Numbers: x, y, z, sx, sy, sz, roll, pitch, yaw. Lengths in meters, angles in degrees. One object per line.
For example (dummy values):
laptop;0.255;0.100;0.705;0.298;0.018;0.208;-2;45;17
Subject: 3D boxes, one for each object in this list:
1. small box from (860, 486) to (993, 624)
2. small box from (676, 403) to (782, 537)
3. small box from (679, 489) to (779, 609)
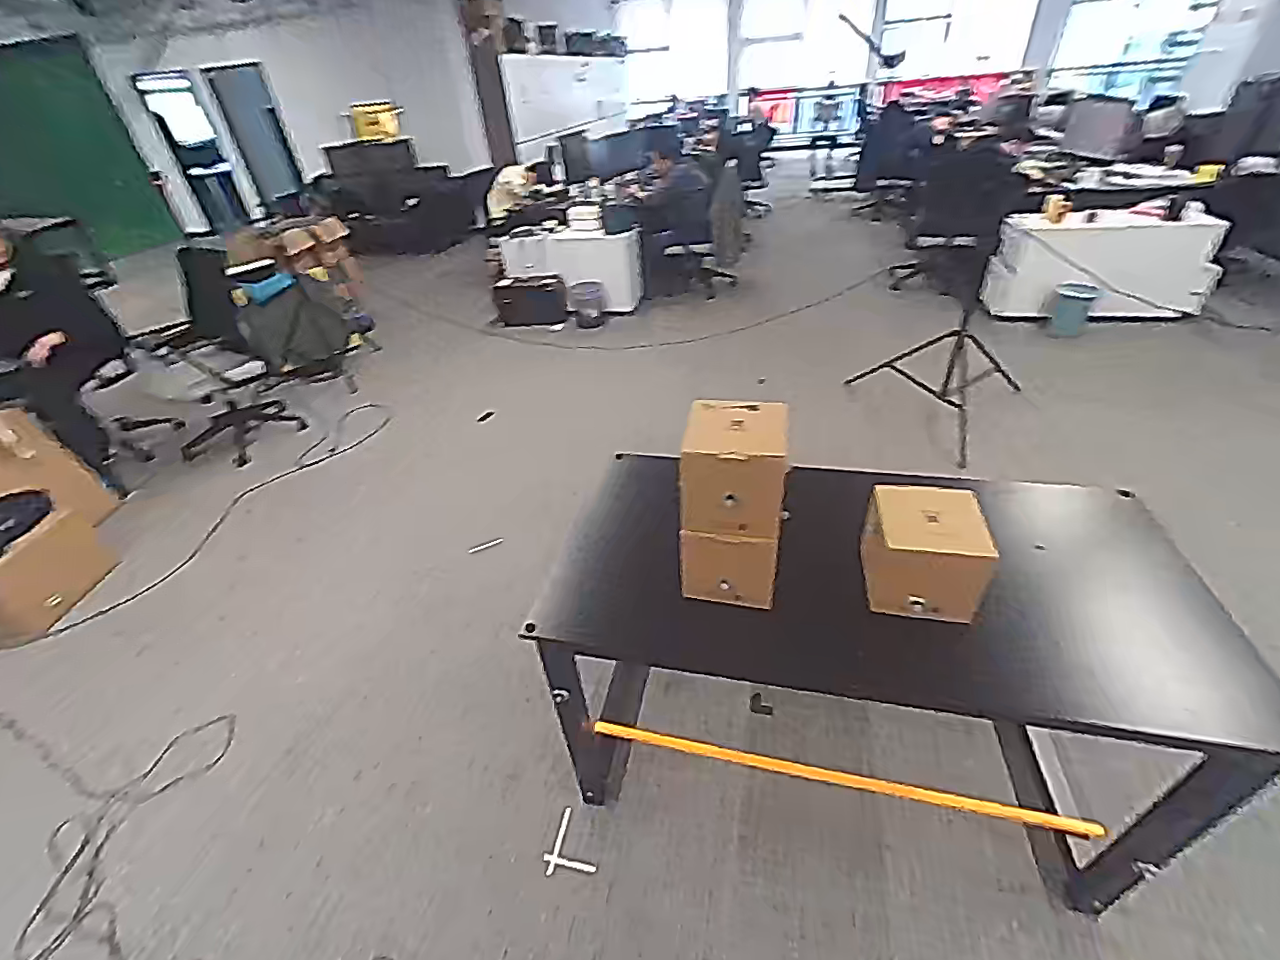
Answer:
small box;0.505;0.133;0.984;0.168;0.176;0.179;3;38;13
small box;0.160;-0.019;0.951;0.168;0.176;0.179;4;38;12
small box;0.173;0.119;1.040;0.168;0.176;0.179;5;38;14
